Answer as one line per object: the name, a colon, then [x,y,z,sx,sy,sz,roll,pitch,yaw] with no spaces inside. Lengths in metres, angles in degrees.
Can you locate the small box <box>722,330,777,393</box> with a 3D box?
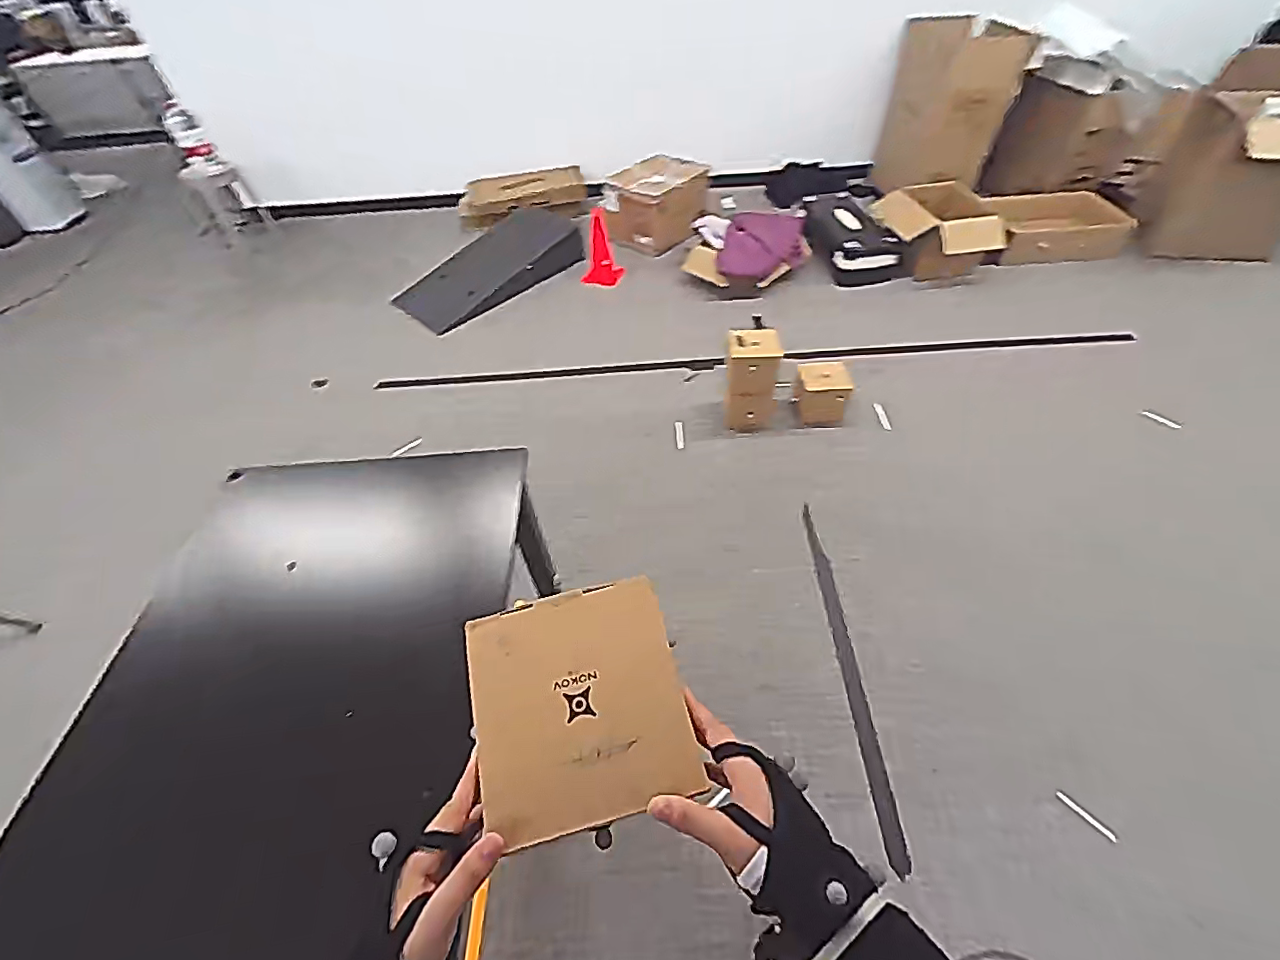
small box: [0.397,-0.434,1.990,0.179,0.176,0.168,-2,49,2]

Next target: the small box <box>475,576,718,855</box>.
small box: [-0.040,0.212,0.489,0.168,0.176,0.179,-13,60,-6]

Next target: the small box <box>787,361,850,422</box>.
small box: [0.690,-0.342,2.109,0.179,0.176,0.168,-4,49,0]

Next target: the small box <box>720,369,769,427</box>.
small box: [0.405,-0.320,2.110,0.168,0.176,0.179,-2,50,3]
